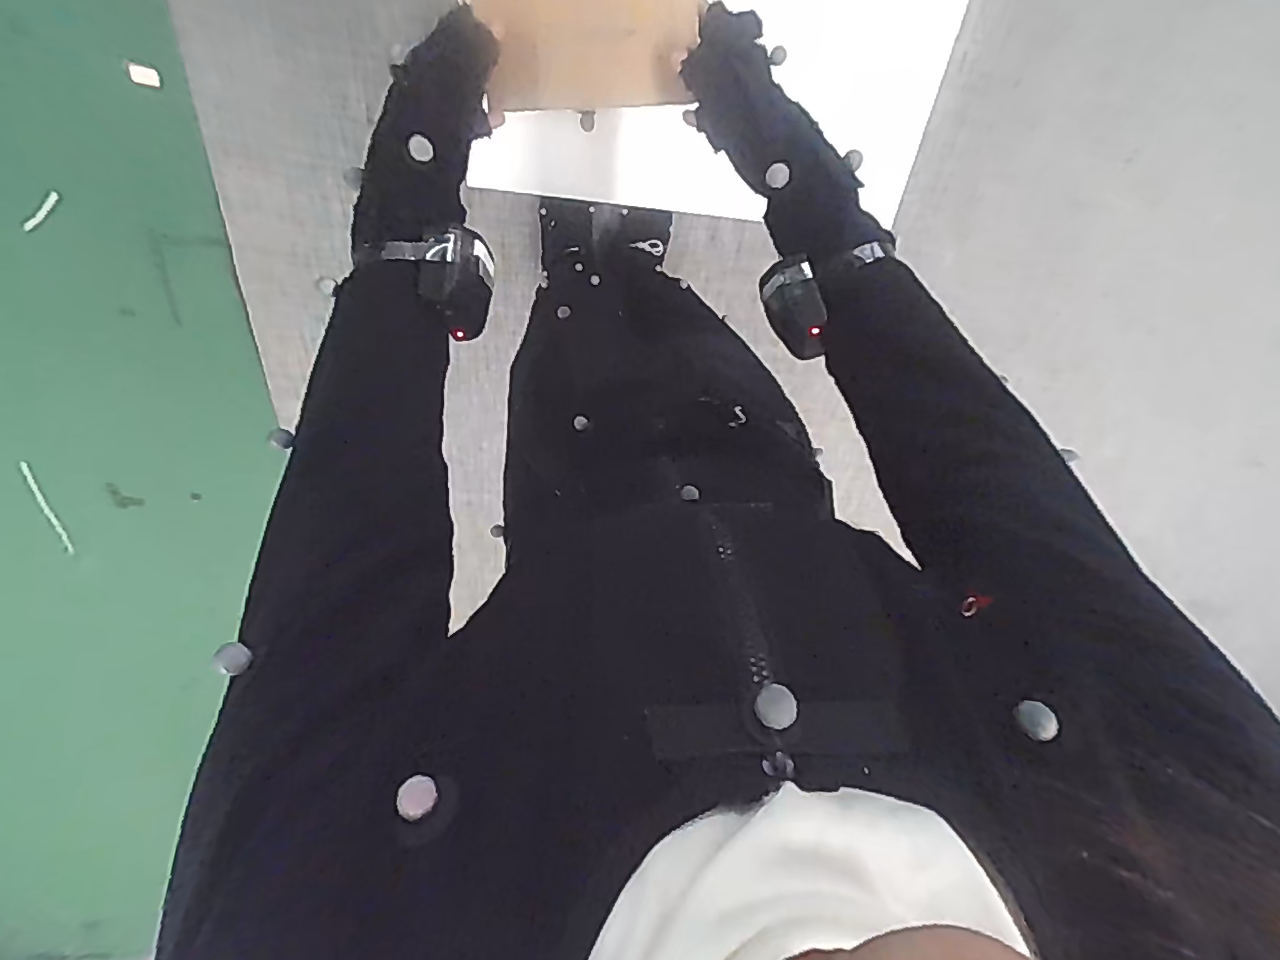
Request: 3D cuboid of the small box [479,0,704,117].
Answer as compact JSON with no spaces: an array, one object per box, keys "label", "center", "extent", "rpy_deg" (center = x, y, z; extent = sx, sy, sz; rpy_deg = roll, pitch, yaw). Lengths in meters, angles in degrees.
[{"label":"small box","center":[-0.038,-0.409,0.447],"extent":[0.168,0.176,0.179],"rpy_deg":[-3,125,2]}]
